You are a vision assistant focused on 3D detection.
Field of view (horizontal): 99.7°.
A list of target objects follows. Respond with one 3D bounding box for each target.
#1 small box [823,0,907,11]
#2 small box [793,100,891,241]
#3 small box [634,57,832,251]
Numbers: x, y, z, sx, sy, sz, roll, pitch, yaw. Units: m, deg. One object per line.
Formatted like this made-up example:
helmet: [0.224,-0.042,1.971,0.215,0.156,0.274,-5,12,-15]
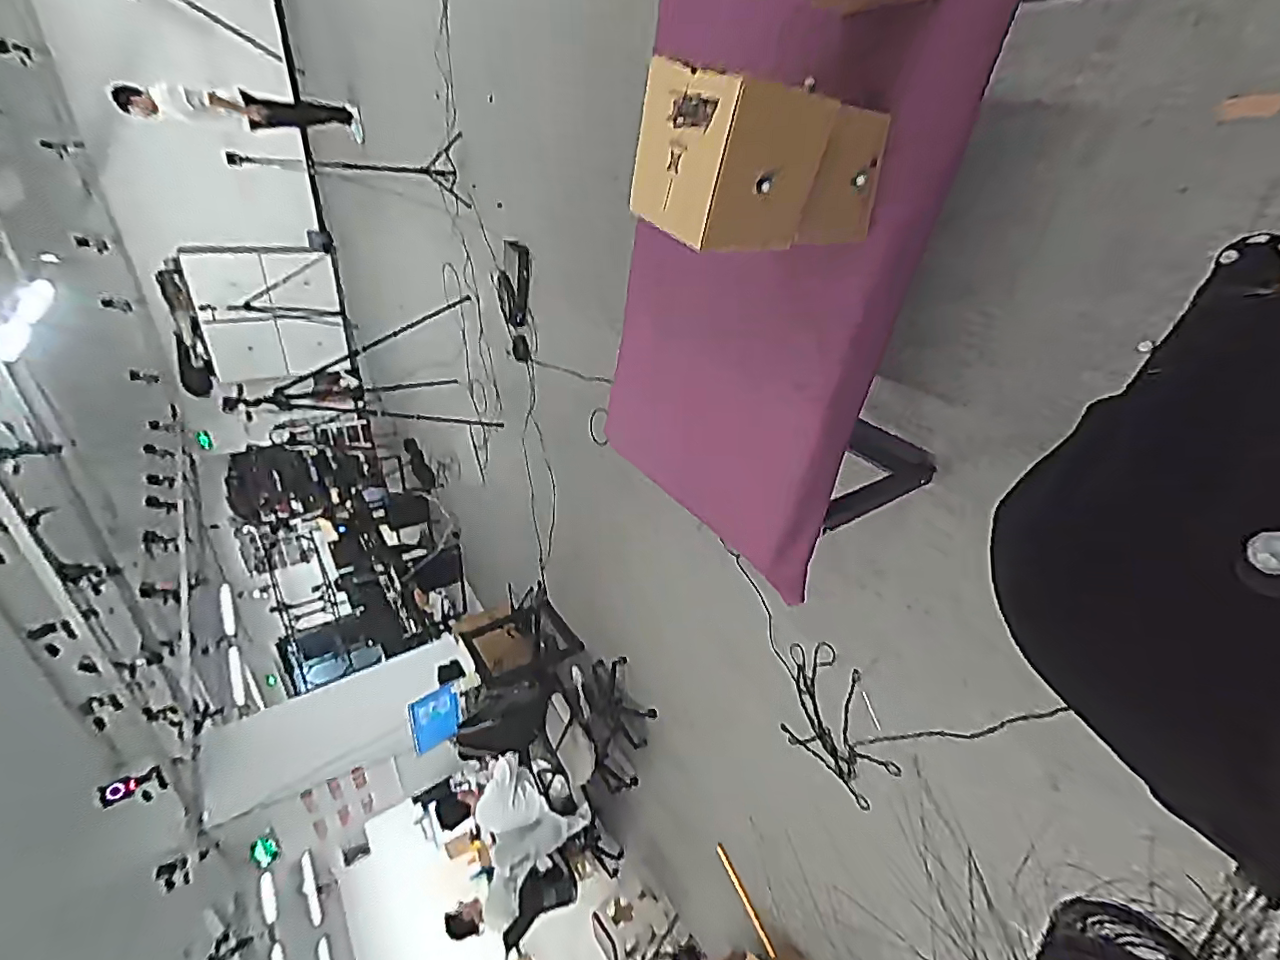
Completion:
small box: [0.276,-0.692,0.635,0.168,0.176,0.179,36,133,44]
small box: [0.236,-0.454,0.810,0.179,0.176,0.168,34,132,46]
small box: [0.117,-0.416,0.700,0.168,0.176,0.179,48,141,35]
